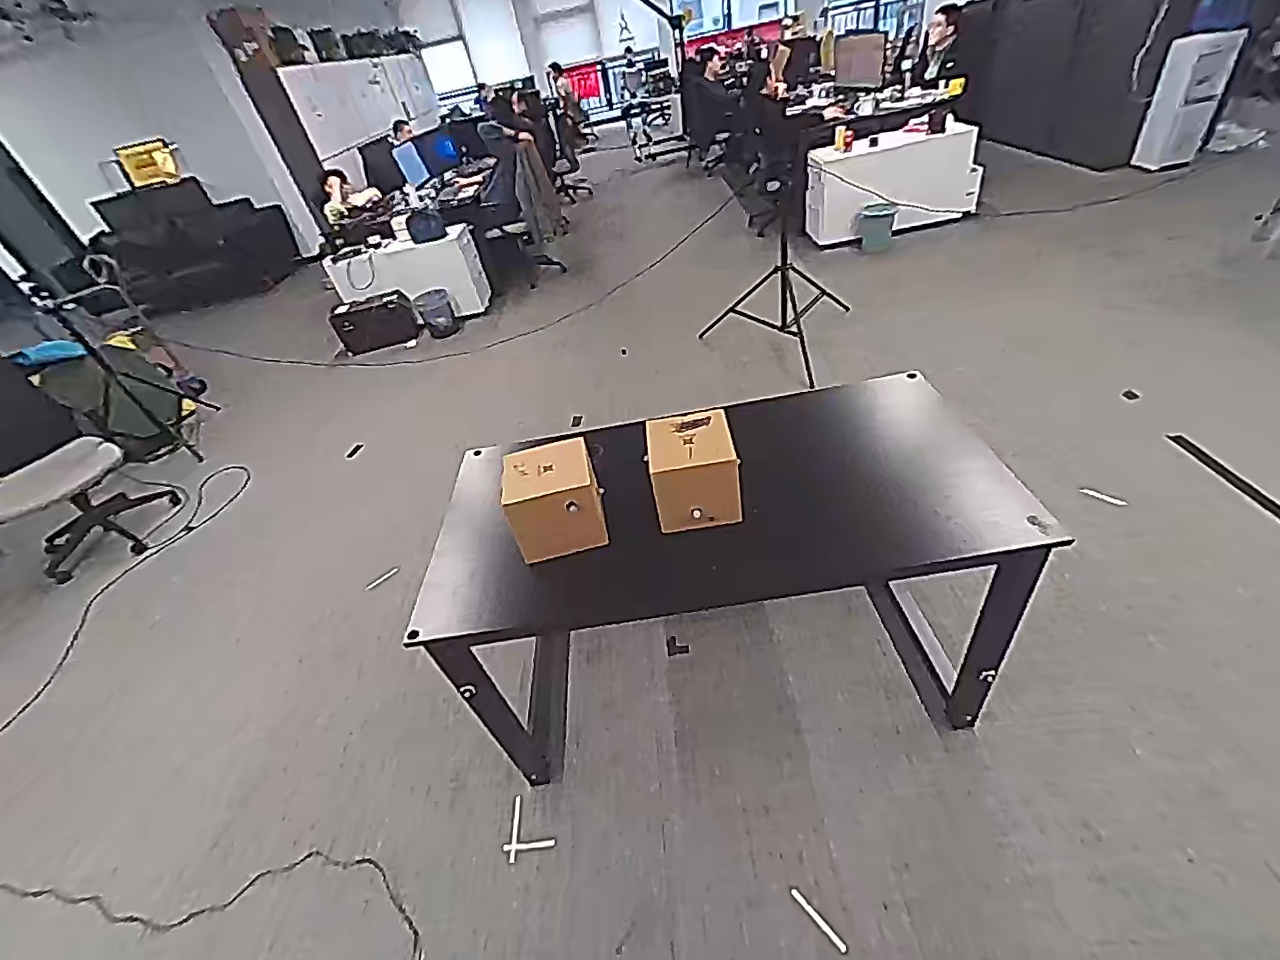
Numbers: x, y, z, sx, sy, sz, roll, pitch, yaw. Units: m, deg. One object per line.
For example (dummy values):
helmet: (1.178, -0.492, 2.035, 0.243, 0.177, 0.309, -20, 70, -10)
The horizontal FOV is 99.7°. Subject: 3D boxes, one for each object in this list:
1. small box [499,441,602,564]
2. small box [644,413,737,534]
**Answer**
small box: (-0.180, 0.047, 1.127, 0.179, 0.176, 0.168, -14, 39, -1)
small box: (0.103, -0.013, 1.120, 0.168, 0.176, 0.179, -9, 40, 5)
